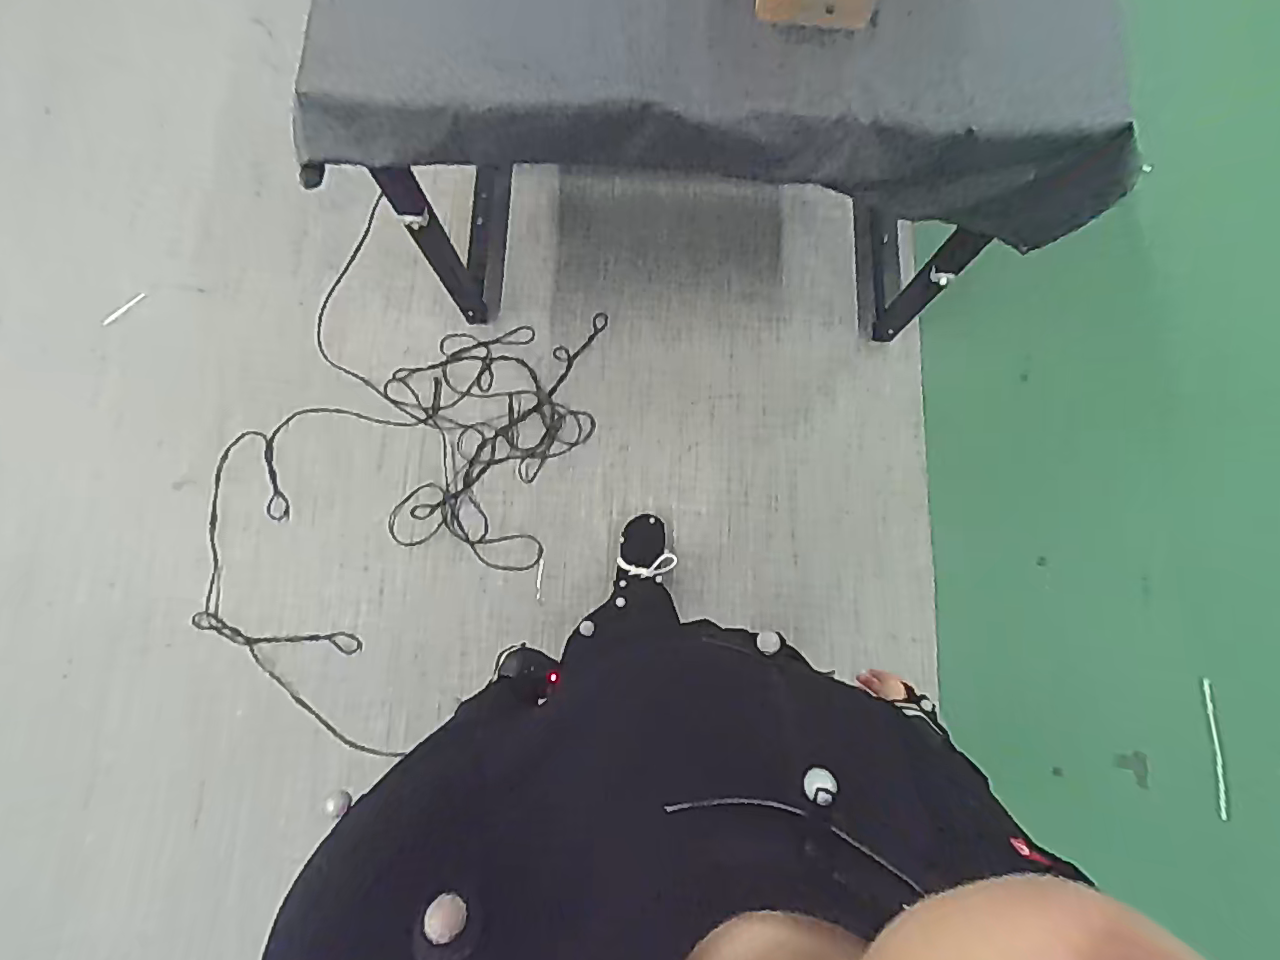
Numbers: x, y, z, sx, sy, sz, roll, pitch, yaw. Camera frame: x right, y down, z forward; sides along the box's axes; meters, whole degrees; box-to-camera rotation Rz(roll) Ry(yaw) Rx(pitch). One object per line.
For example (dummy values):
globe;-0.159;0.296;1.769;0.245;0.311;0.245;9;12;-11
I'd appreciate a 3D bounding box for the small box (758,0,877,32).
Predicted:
small box;0.264;-0.770;0.745;0.168;0.176;0.179;5;77;0
